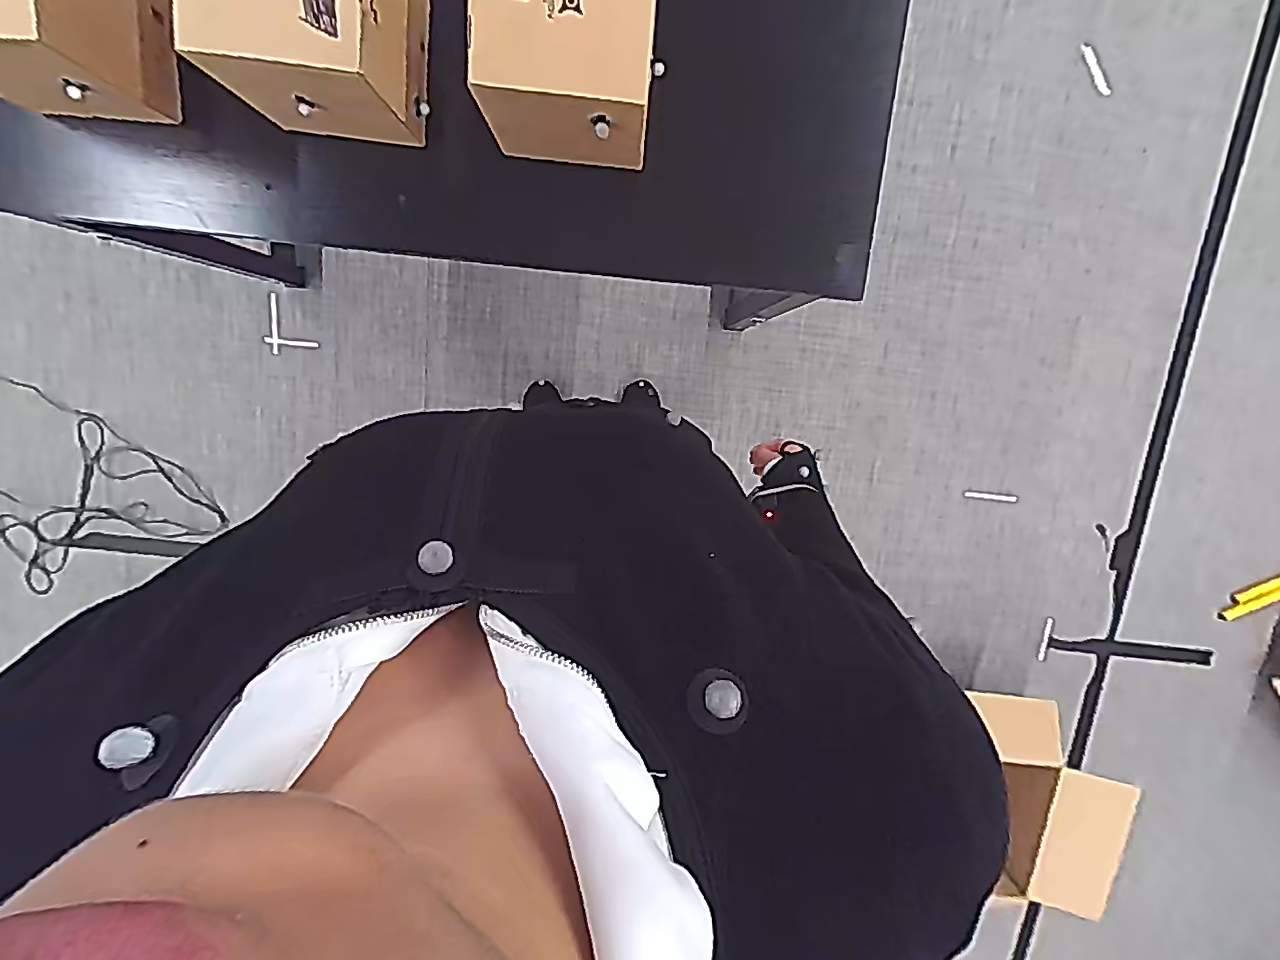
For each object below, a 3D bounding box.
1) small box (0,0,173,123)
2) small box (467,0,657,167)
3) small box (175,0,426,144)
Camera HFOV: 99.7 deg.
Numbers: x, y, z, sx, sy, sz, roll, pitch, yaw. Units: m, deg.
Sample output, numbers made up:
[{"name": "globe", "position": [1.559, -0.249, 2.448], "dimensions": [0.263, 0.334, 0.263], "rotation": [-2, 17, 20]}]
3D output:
[{"name": "small box", "position": [-0.639, -0.505, 0.569], "dimensions": [0.179, 0.176, 0.168], "rotation": [3, 99, -2]}, {"name": "small box", "position": [-0.076, -0.465, 0.590], "dimensions": [0.179, 0.176, 0.168], "rotation": [5, 100, -2]}, {"name": "small box", "position": [-0.345, -0.488, 0.579], "dimensions": [0.179, 0.176, 0.168], "rotation": [6, 100, -2]}]
